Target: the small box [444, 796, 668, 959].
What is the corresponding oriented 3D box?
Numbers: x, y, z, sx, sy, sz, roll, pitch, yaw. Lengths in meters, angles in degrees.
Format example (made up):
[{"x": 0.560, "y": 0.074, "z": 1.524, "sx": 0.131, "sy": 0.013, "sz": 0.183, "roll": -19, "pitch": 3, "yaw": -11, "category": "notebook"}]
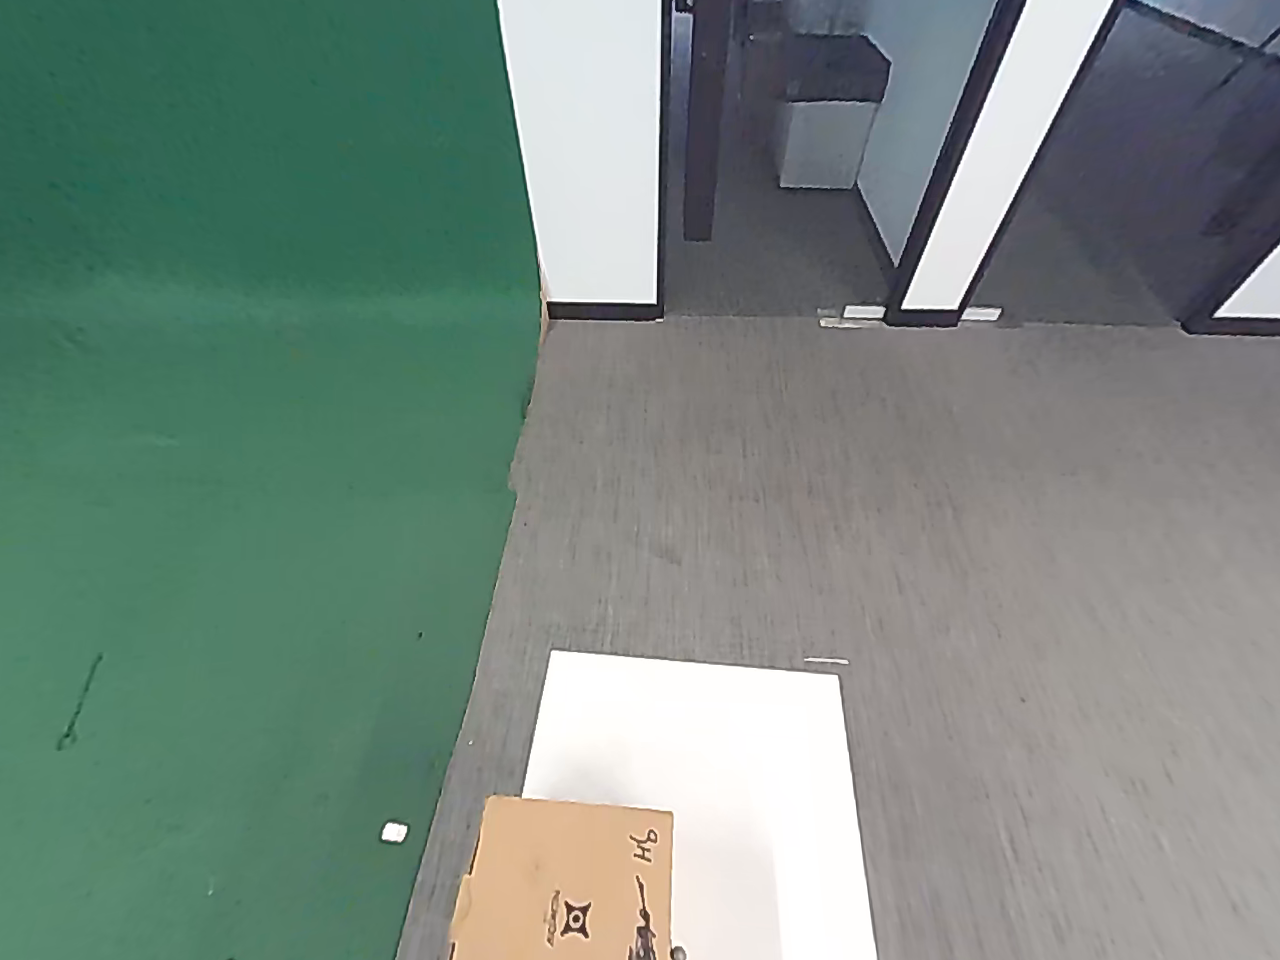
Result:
[{"x": -0.069, "y": 0.413, "z": 0.506, "sx": 0.179, "sy": 0.176, "sz": 0.168, "roll": 5, "pitch": 50, "yaw": 1, "category": "small box"}]
